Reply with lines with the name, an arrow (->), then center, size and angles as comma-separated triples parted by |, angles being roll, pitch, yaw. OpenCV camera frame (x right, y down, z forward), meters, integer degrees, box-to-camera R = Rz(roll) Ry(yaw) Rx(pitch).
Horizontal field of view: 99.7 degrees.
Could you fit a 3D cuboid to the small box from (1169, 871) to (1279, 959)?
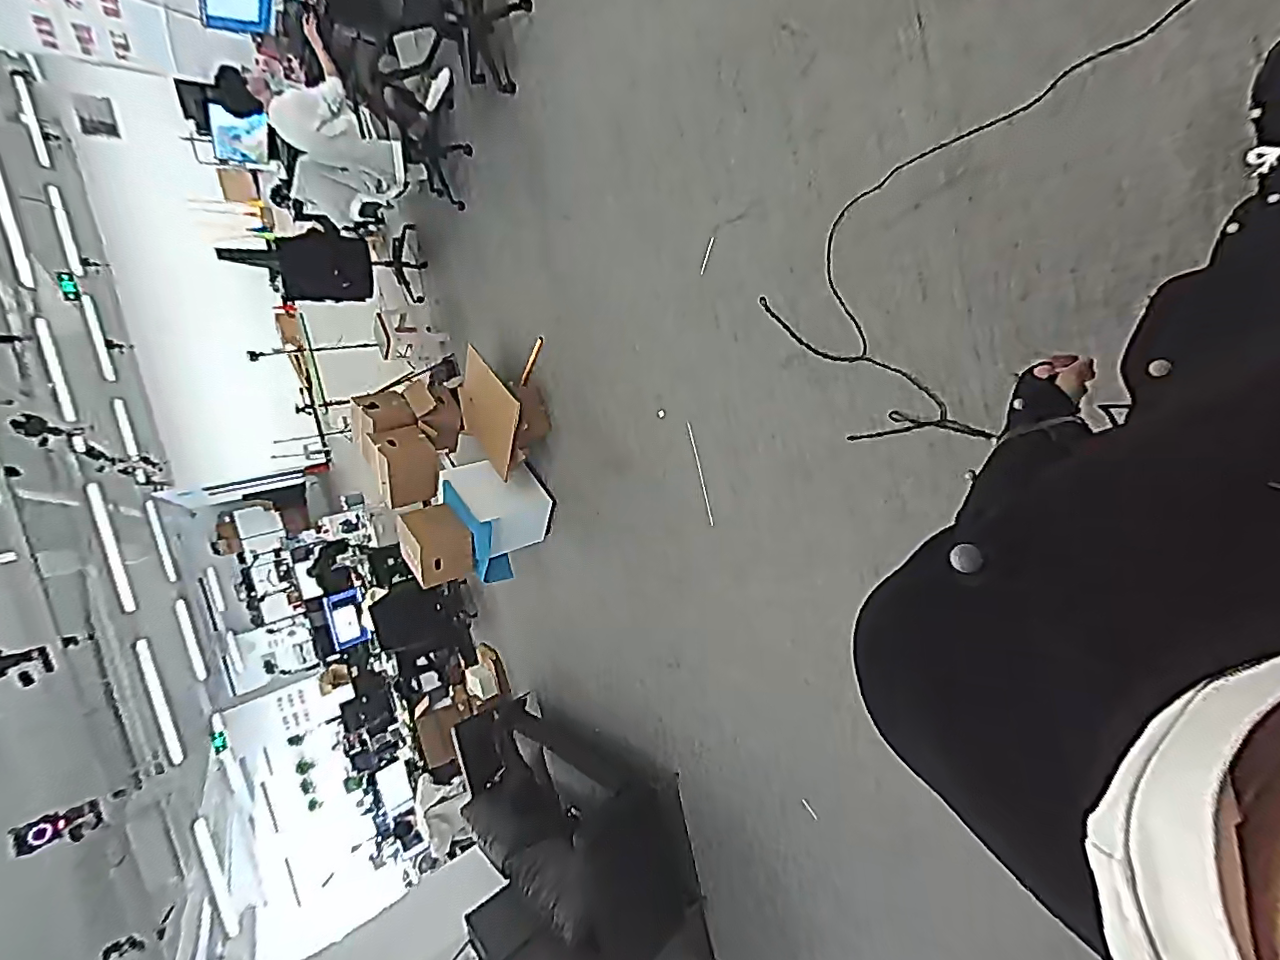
small box -> 1.331, 1.050, 1.221 | 0.168, 0.176, 0.179 | -5, 98, 52
